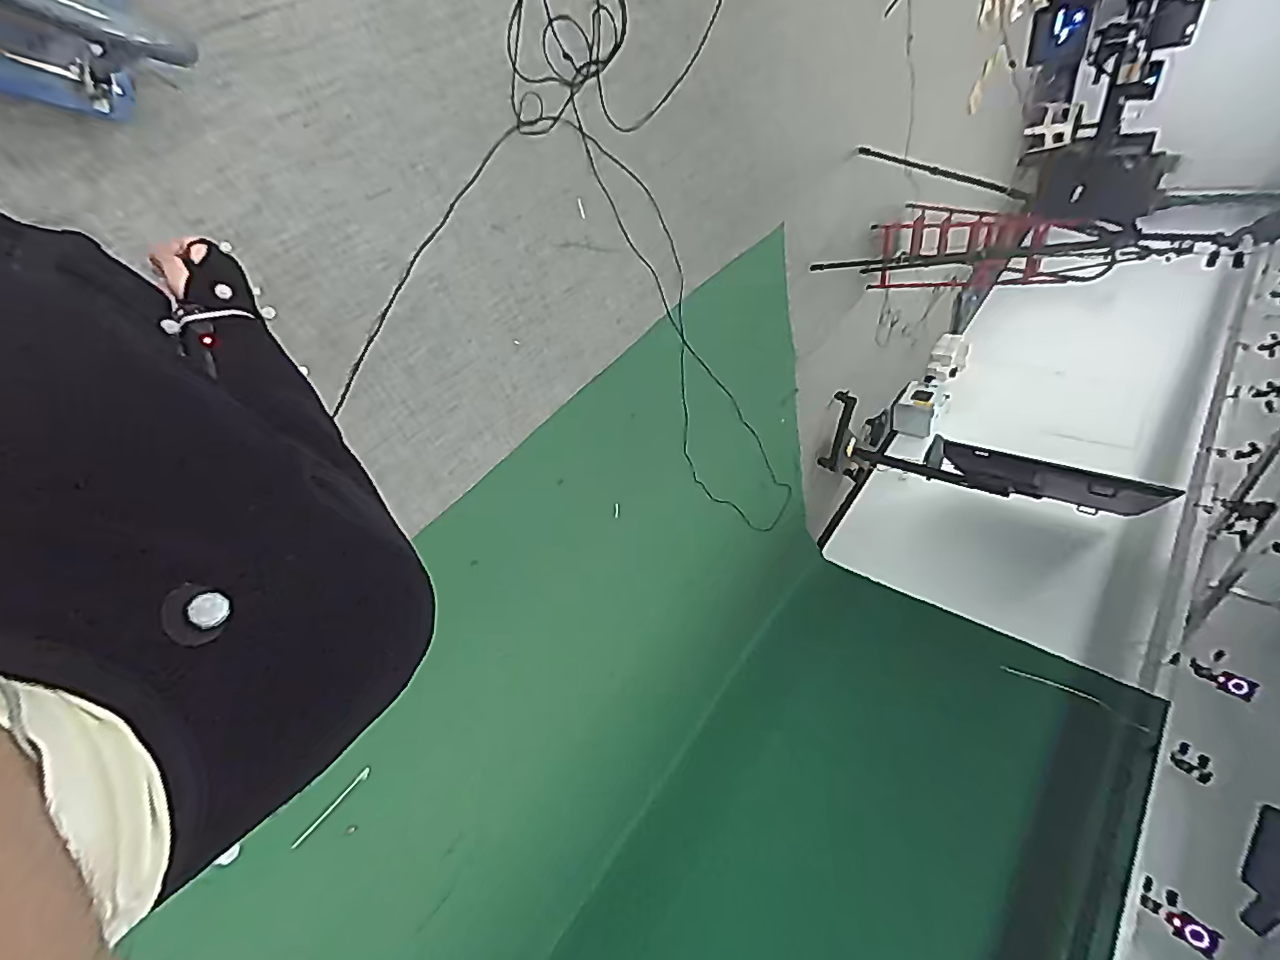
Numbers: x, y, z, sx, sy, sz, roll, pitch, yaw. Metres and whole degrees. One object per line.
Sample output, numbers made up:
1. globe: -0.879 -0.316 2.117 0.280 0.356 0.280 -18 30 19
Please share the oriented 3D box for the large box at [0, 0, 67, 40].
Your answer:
1. large box: -0.953 -0.865 0.657 0.320 0.320 0.408 -9 113 -50
